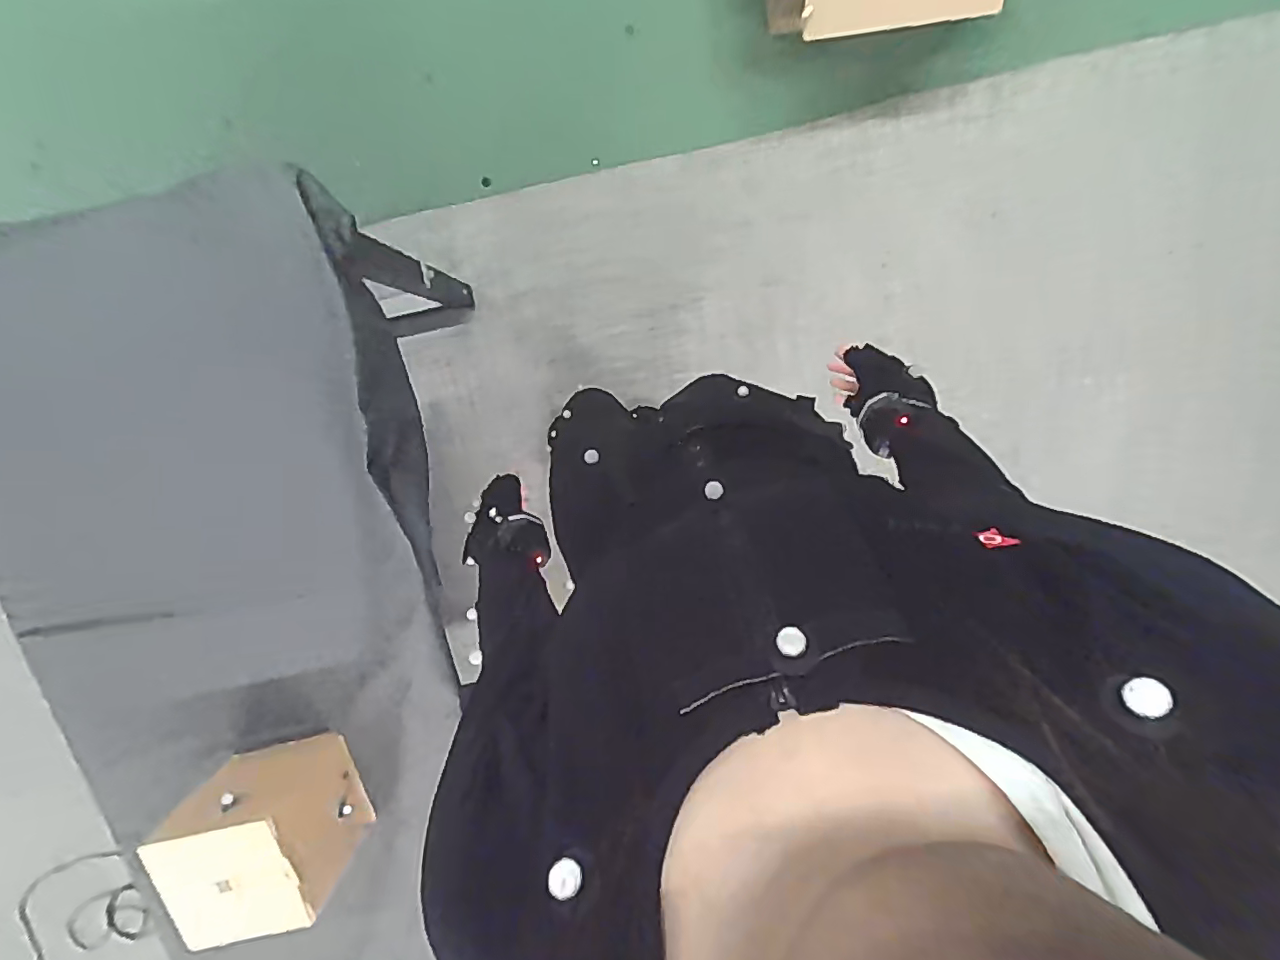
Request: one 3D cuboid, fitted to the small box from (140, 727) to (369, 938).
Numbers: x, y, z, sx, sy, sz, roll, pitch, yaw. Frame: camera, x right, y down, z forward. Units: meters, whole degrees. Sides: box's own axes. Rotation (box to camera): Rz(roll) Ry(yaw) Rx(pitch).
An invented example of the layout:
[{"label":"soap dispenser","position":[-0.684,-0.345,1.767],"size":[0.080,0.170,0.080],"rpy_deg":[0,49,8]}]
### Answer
[{"label":"small box","position":[-0.526,0.485,0.765],"size":[0.179,0.176,0.168],"rpy_deg":[-14,100,2]}]
